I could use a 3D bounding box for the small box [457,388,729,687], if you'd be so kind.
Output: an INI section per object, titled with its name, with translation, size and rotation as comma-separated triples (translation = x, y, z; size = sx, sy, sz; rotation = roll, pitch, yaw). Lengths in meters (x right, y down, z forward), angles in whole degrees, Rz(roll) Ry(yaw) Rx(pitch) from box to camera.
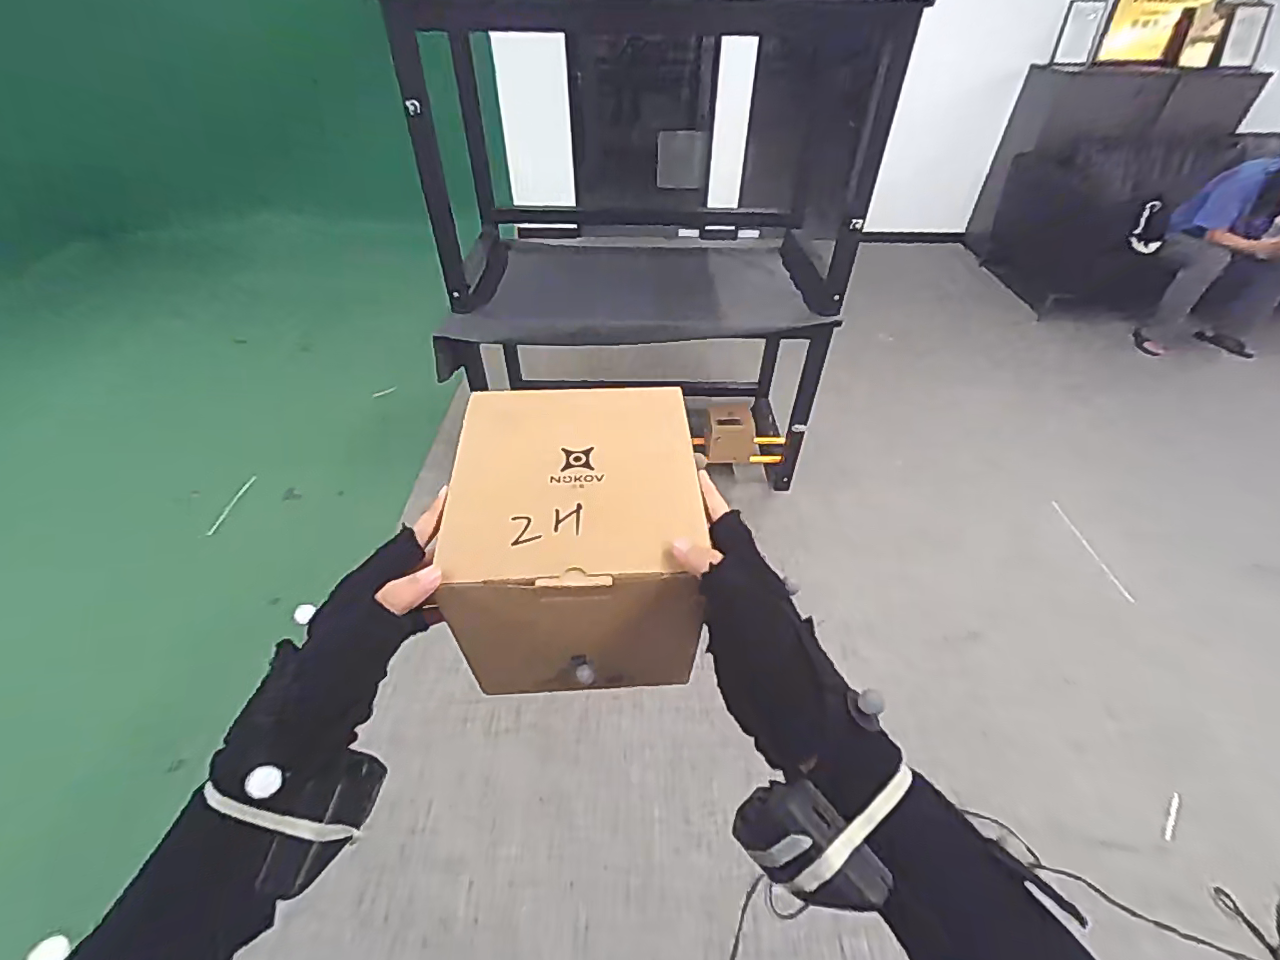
[small box]
translation = -0.033, 0.045, 0.435
size = 0.168, 0.176, 0.179
rotation = -2, 47, -3
